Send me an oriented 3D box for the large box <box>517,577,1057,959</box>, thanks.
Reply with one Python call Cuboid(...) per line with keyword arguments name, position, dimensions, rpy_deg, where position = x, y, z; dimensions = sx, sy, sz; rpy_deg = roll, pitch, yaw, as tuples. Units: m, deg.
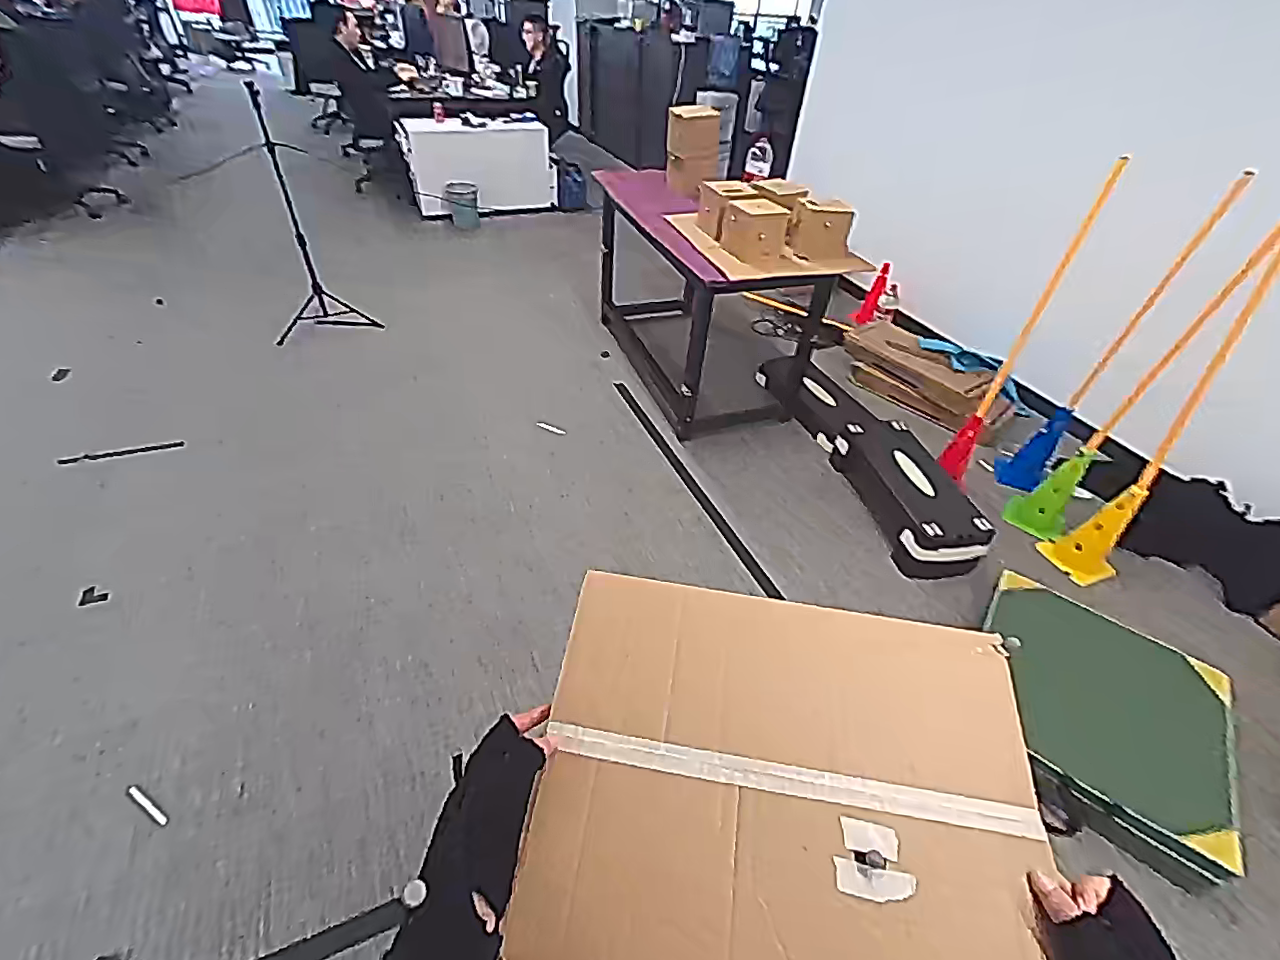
Cuboid(name="large box", position=(0.123, 0.335, 0.587), dimensions=(0.408, 0.320, 0.320), rpy_deg=(8, 56, 5))
